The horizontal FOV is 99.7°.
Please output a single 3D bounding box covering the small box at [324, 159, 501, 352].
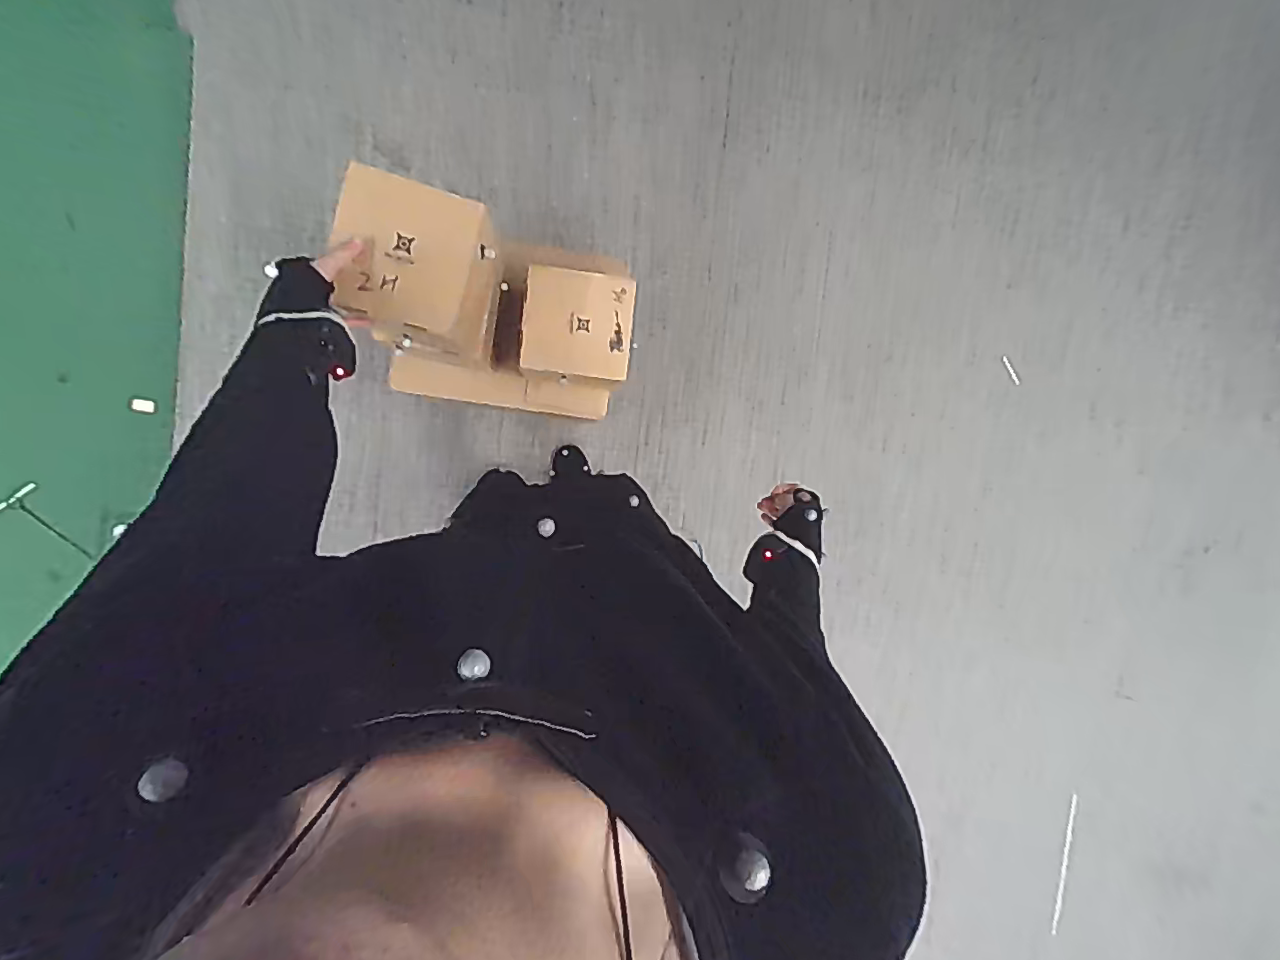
[{"bbox_3d":[-0.298,-0.294,0.750,0.168,0.176,0.179,15,93,-8],"label":"small box"}]
